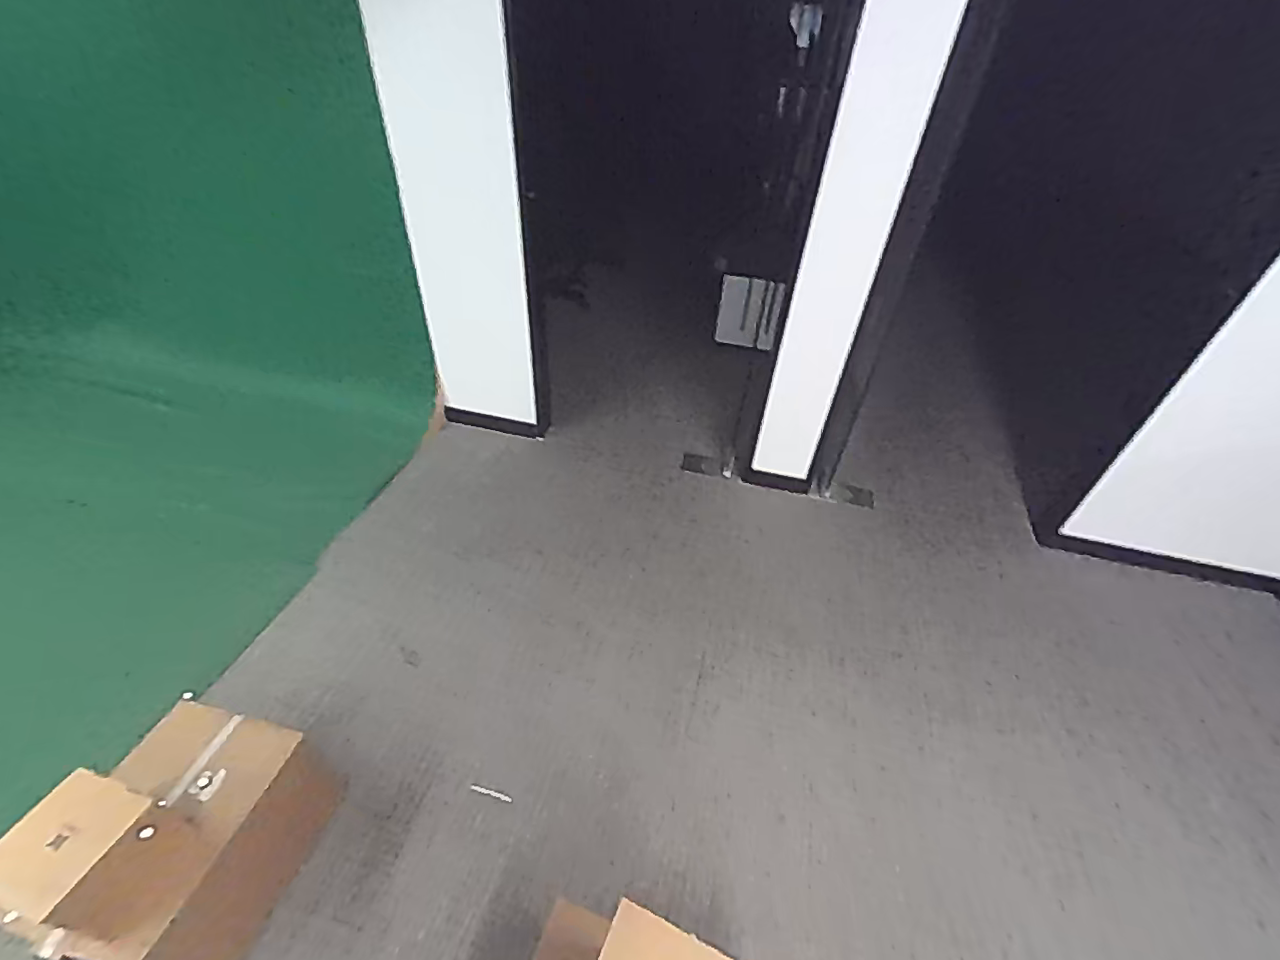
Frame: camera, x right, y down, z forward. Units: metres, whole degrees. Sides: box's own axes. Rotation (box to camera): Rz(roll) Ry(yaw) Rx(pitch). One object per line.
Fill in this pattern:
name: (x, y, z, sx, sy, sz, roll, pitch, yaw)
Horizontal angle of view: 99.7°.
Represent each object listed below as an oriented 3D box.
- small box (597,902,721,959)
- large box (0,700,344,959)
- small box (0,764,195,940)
small box: (0.014, 0.679, 0.669, 0.179, 0.176, 0.168, 19, 39, 17)
large box: (-0.915, 0.752, 1.125, 0.320, 0.320, 0.408, 12, 40, 9)
small box: (-0.907, 0.620, 0.900, 0.168, 0.176, 0.179, 15, 40, 11)
